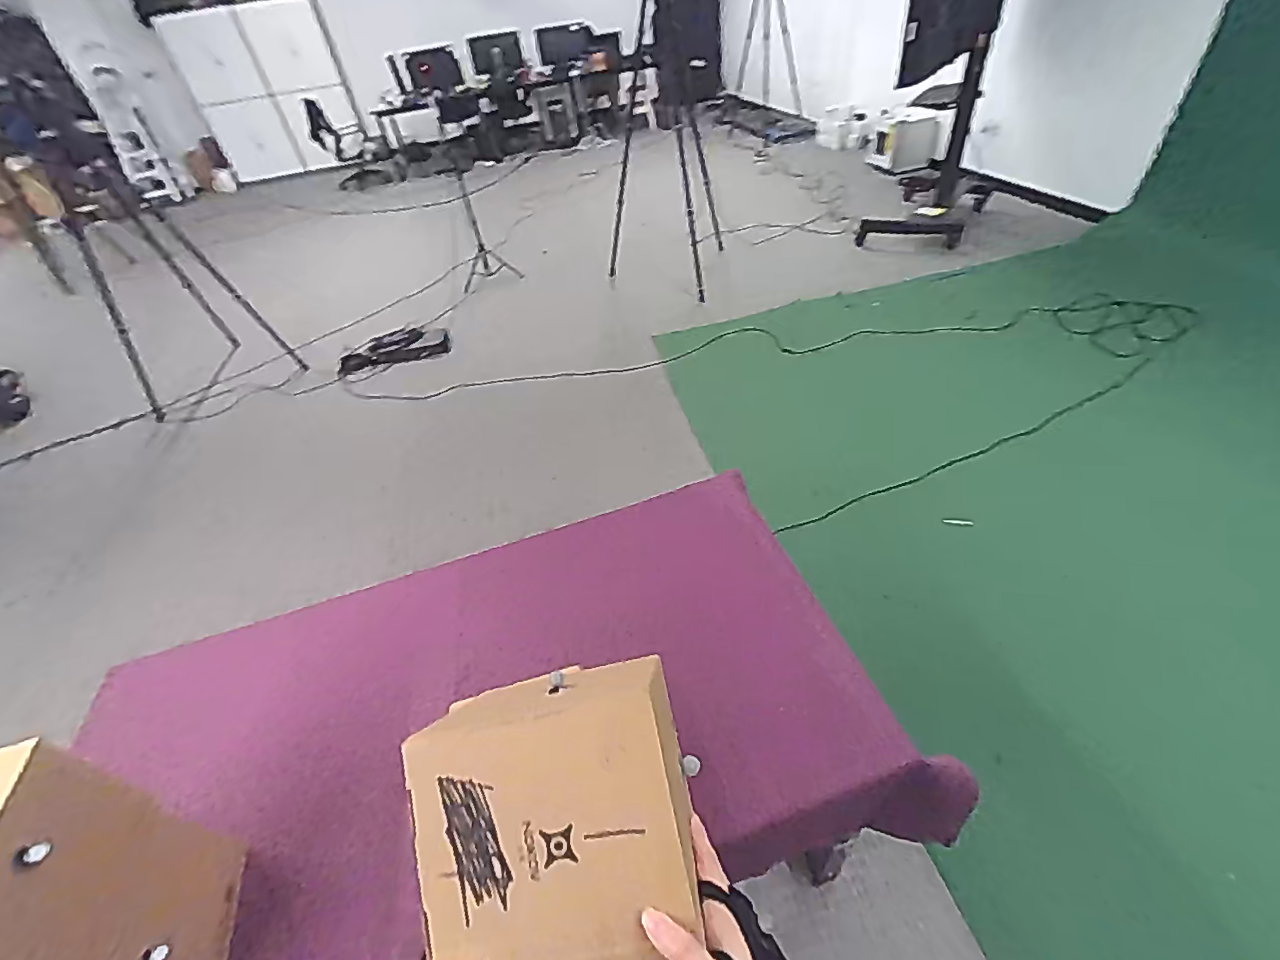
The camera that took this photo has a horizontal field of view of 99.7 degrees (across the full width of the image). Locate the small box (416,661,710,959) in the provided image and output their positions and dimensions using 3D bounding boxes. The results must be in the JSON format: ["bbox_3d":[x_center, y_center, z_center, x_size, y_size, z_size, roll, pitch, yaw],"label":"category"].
[{"bbox_3d":[-0.049,0.252,0.430,0.179,0.176,0.168,-12,80,1],"label":"small box"}]

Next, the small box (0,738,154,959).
[{"bbox_3d":[-0.612,0.380,0.499,0.168,0.176,0.179,-17,44,-8],"label":"small box"}]
